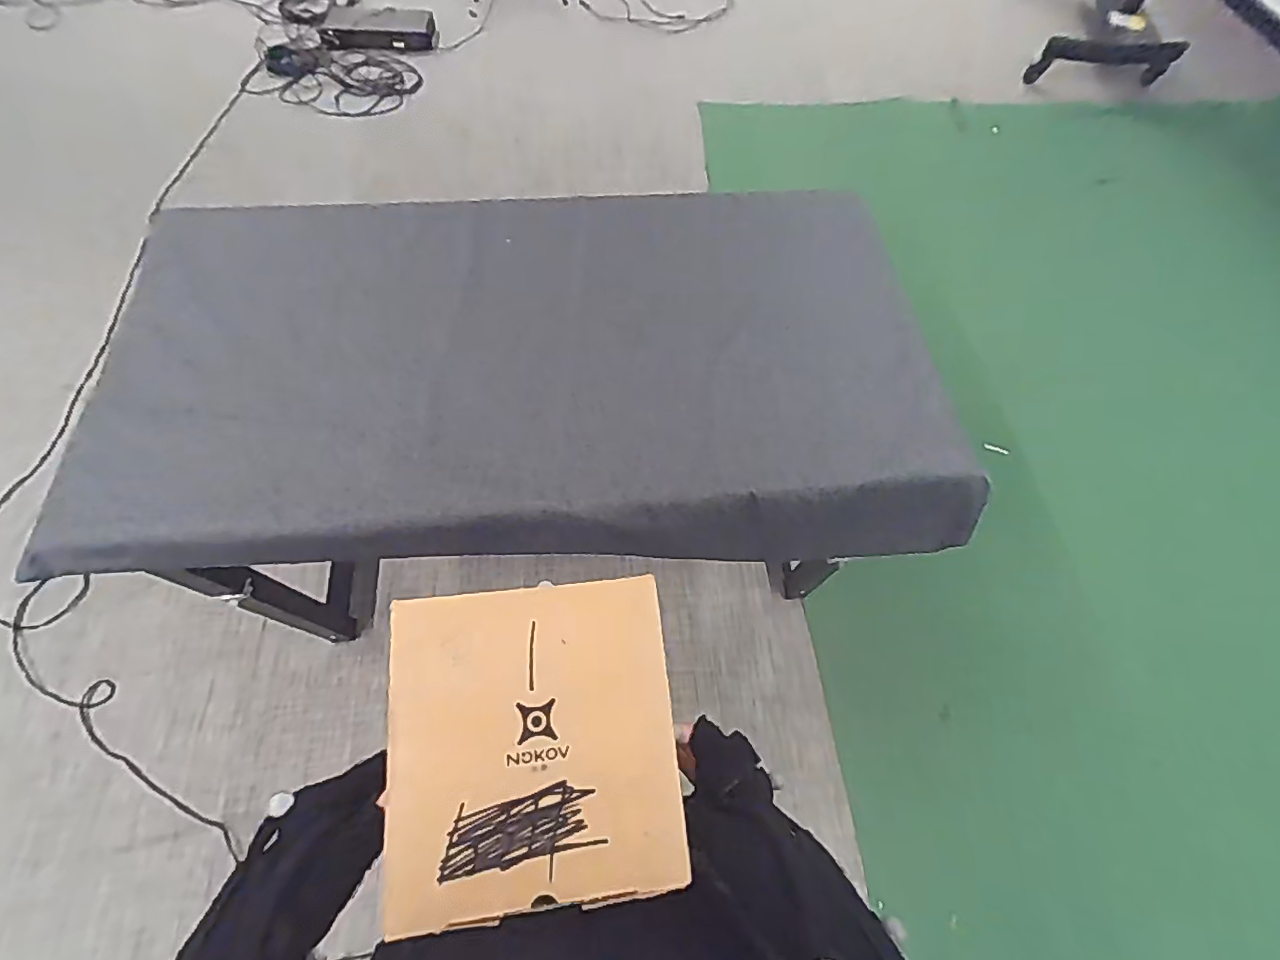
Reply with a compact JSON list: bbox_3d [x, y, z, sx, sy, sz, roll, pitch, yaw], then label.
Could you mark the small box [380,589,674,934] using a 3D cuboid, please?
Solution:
[{"bbox_3d":[-0.074,0.183,0.400,0.168,0.176,0.179,-3,71,-8],"label":"small box"}]
